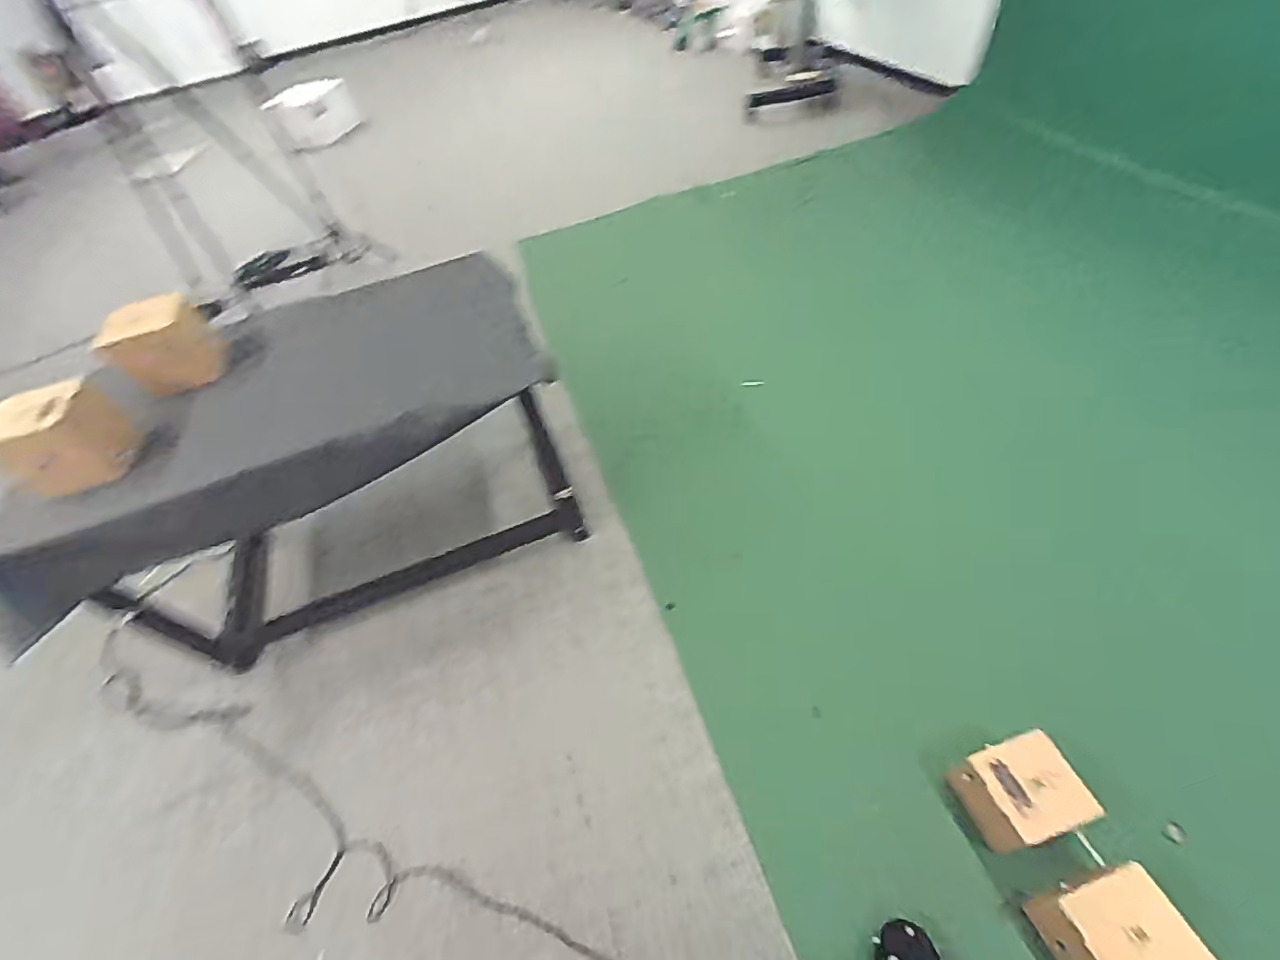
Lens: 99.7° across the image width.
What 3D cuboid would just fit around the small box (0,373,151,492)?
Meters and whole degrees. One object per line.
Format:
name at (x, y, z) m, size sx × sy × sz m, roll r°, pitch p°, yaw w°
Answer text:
small box at (-1.242, -0.102, 1.186) m, size 0.179 × 0.176 × 0.168 m, roll -18°, pitch 50°, yaw -4°

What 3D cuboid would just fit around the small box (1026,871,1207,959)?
small box at (0.866, 0.848, 0.992) m, size 0.179 × 0.176 × 0.168 m, roll -20°, pitch 51°, yaw -6°

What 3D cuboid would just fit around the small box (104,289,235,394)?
small box at (-1.175, -0.347, 1.370) m, size 0.179 × 0.176 × 0.168 m, roll -20°, pitch 52°, yaw -6°
